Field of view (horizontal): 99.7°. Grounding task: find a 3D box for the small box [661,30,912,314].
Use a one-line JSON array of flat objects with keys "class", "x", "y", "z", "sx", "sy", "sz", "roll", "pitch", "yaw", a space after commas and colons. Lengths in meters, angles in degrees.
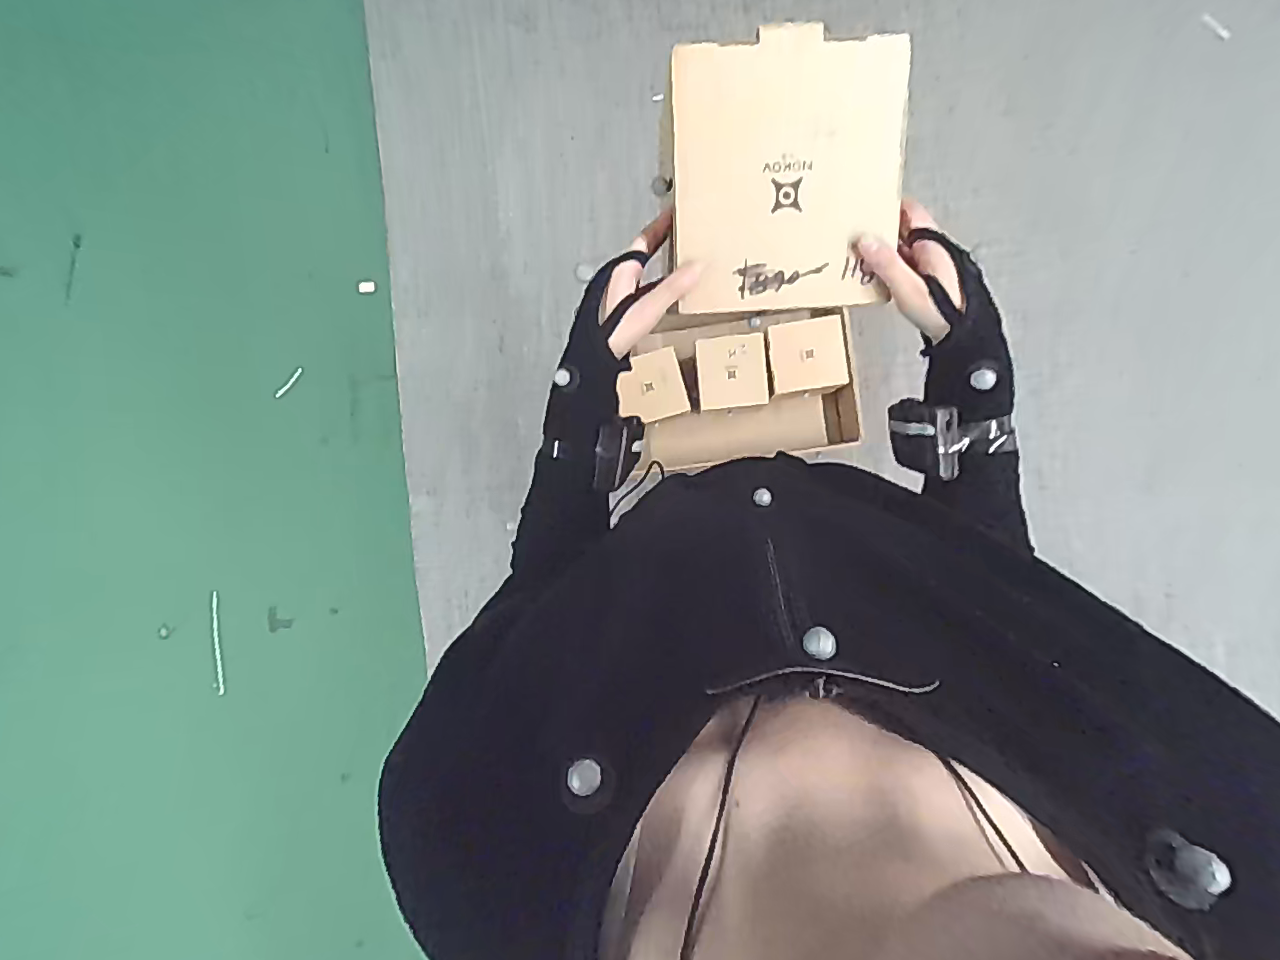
[{"class": "small box", "x": 0.106, "y": -0.240, "z": 0.464, "sx": 0.168, "sy": 0.176, "sz": 0.179, "roll": -3, "pitch": 106, "yaw": 0}]
